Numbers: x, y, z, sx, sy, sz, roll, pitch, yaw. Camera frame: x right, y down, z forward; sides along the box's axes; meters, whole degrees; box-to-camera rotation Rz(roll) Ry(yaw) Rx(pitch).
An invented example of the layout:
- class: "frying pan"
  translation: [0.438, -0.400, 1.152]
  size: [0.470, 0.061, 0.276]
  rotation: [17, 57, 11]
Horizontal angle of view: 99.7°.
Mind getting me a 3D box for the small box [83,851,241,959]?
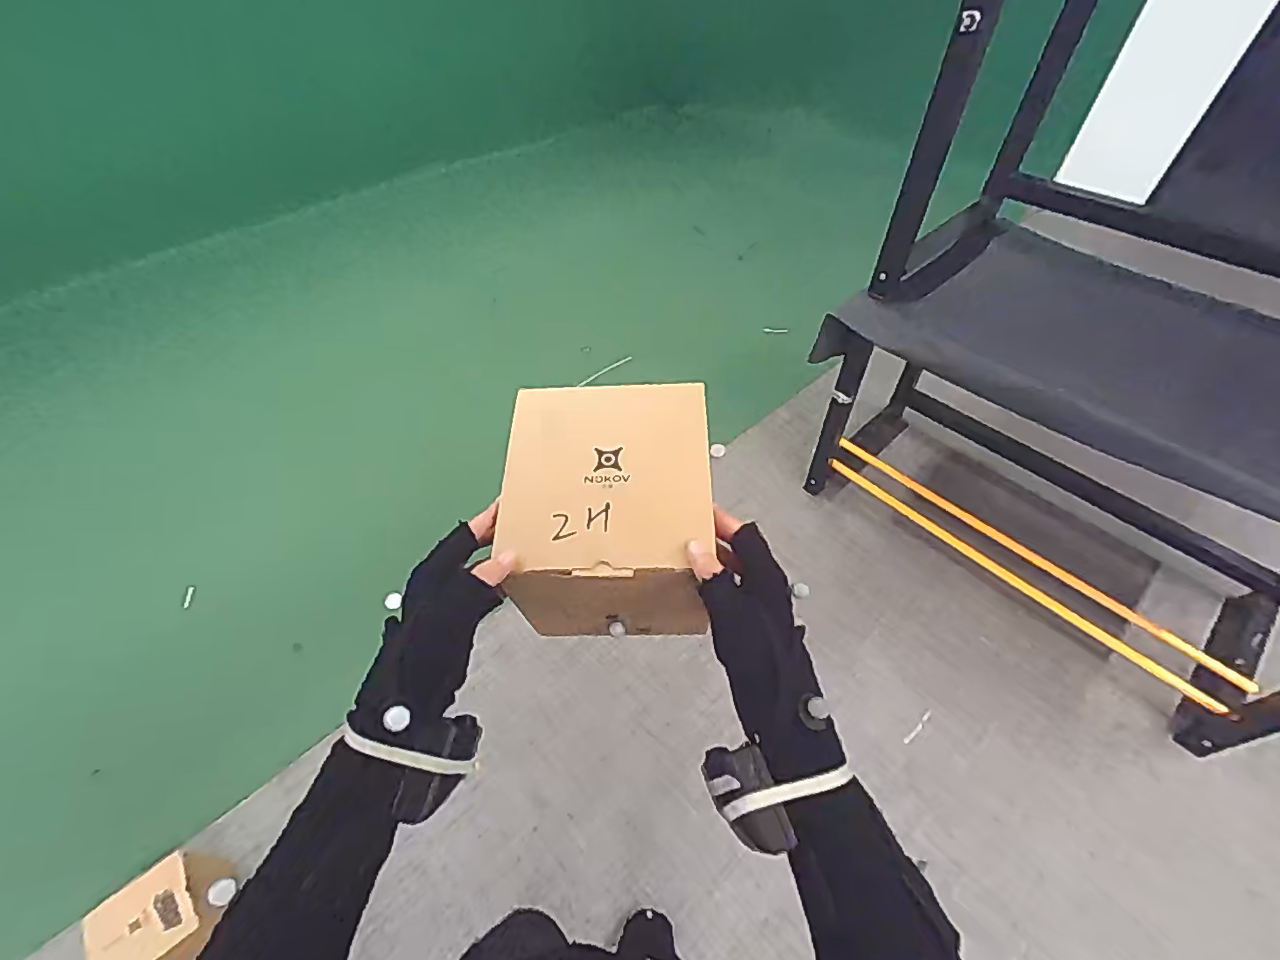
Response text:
- class: "small box"
  translation: [-0.947, 0.894, 1.089]
  size: [0.179, 0.176, 0.168]
  rotation: [-34, 56, -23]
